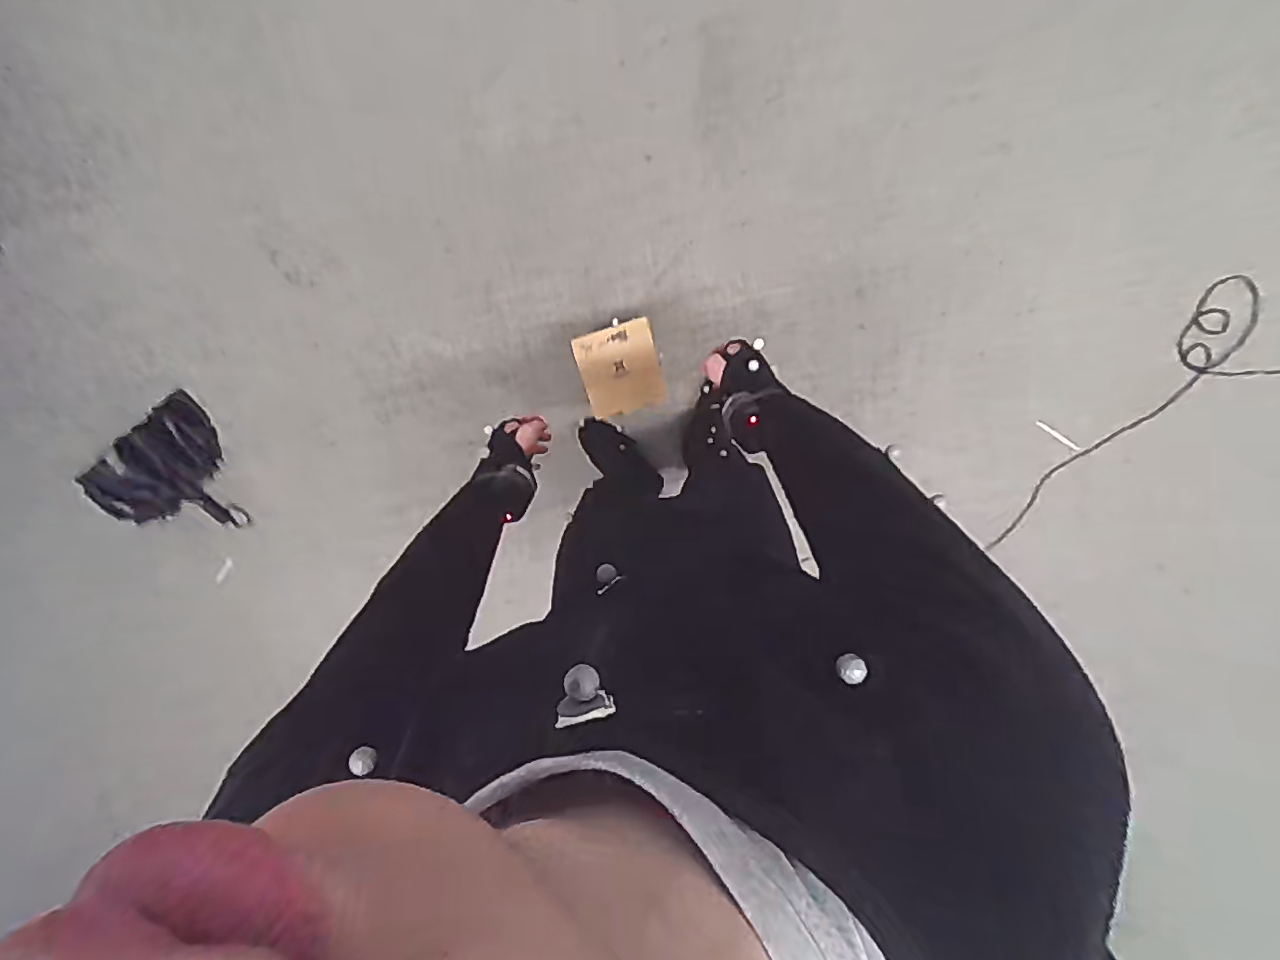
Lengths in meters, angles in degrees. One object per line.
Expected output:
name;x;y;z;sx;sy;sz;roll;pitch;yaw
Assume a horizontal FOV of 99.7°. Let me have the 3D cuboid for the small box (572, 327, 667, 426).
small box;-0.038;-0.238;1.215;0.168;0.176;0.179;-16;104;7
